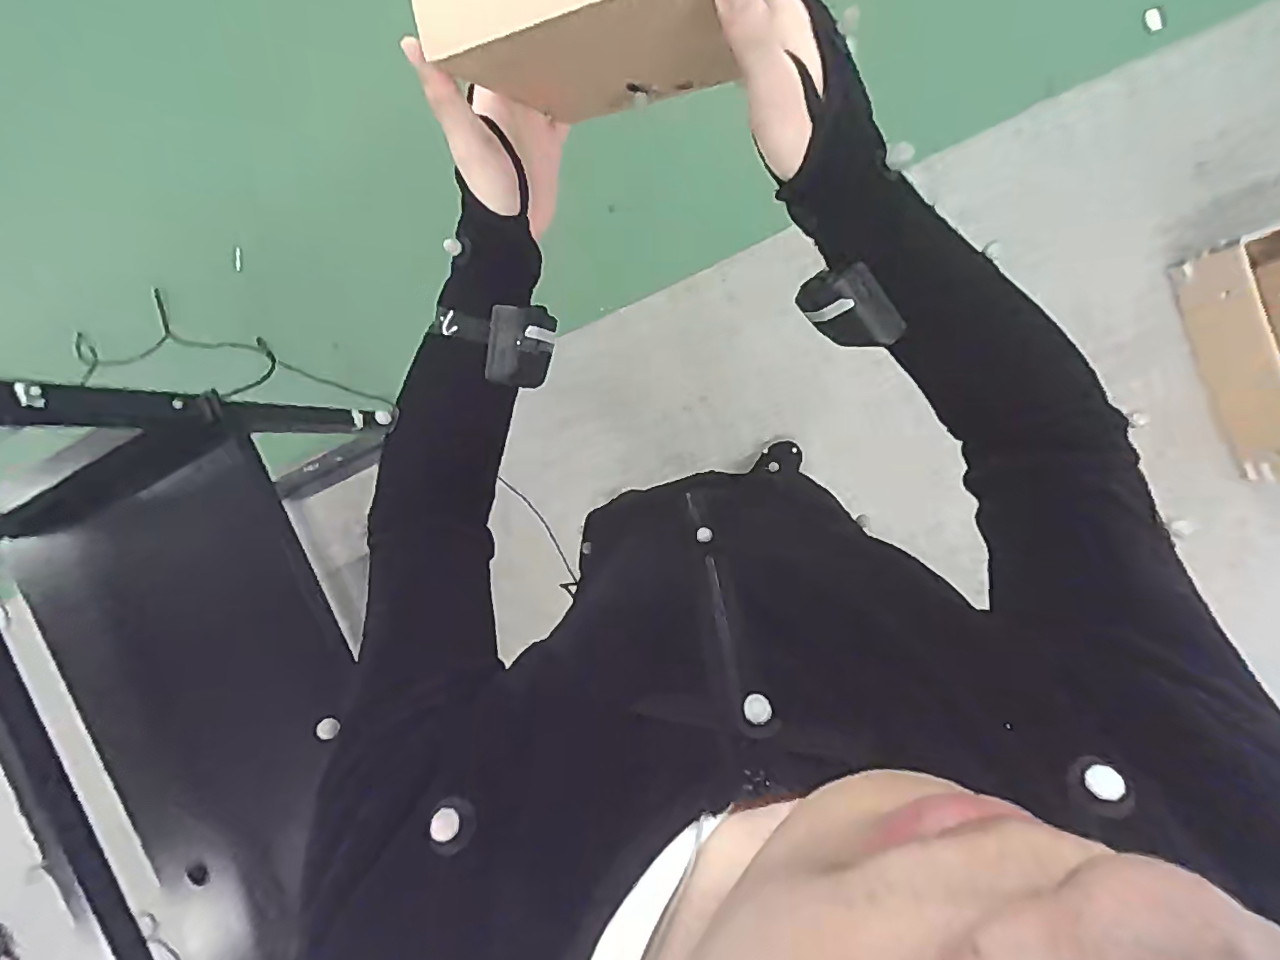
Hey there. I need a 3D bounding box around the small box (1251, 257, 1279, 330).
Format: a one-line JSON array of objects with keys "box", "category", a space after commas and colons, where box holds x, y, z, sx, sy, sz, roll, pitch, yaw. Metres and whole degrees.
[{"box": [1.603, -0.468, 1.259, 0.179, 0.176, 0.168, -22, 92, 9], "category": "small box"}]
